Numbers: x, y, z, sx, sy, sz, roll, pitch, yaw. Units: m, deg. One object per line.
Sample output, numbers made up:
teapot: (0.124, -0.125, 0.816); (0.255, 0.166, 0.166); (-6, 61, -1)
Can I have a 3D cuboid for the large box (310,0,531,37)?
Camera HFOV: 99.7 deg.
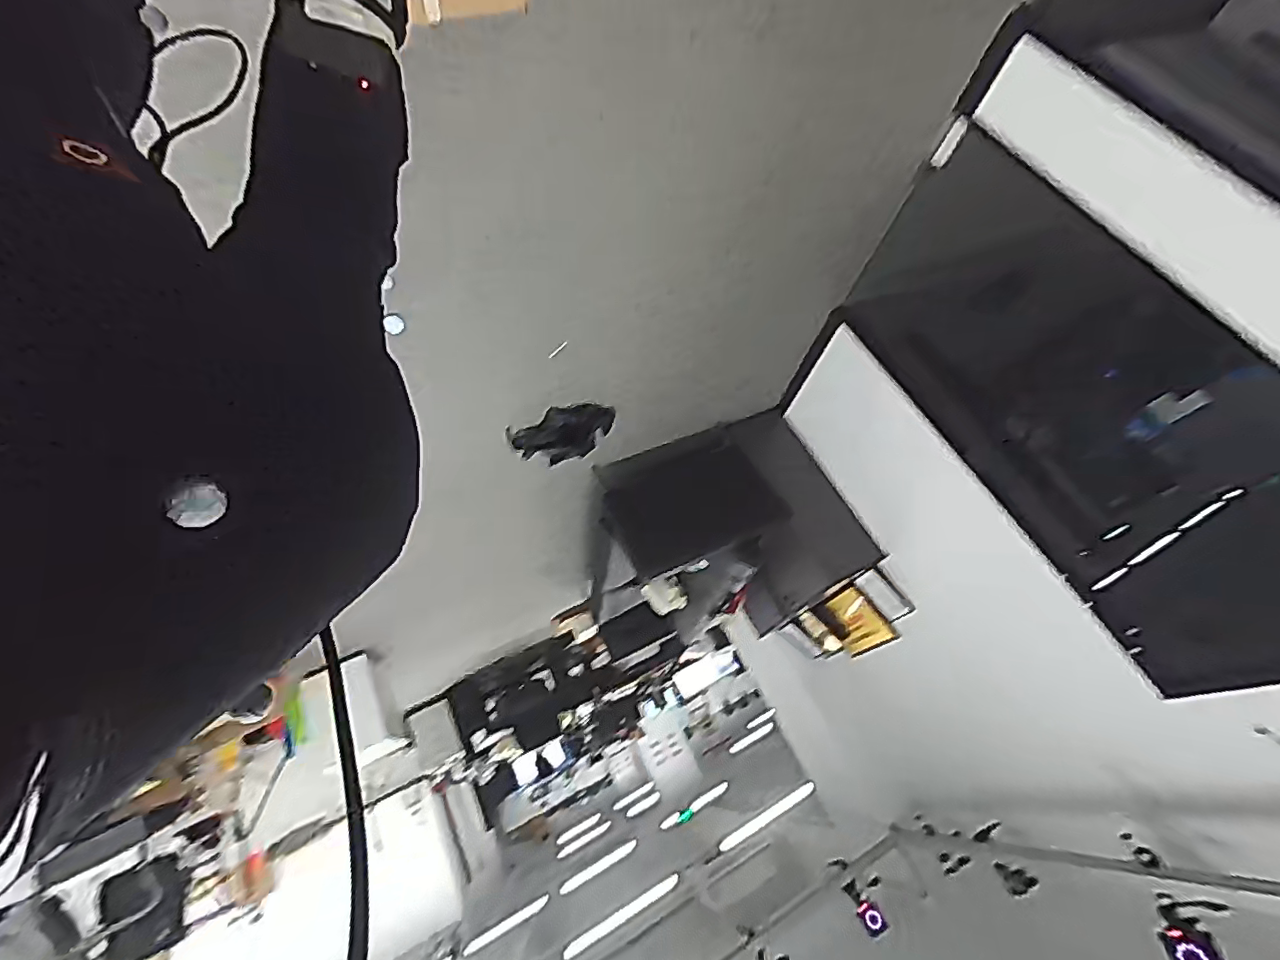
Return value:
large box: (-0.353, -0.885, 0.677); (0.320, 0.320, 0.408); (-22, 157, -17)
